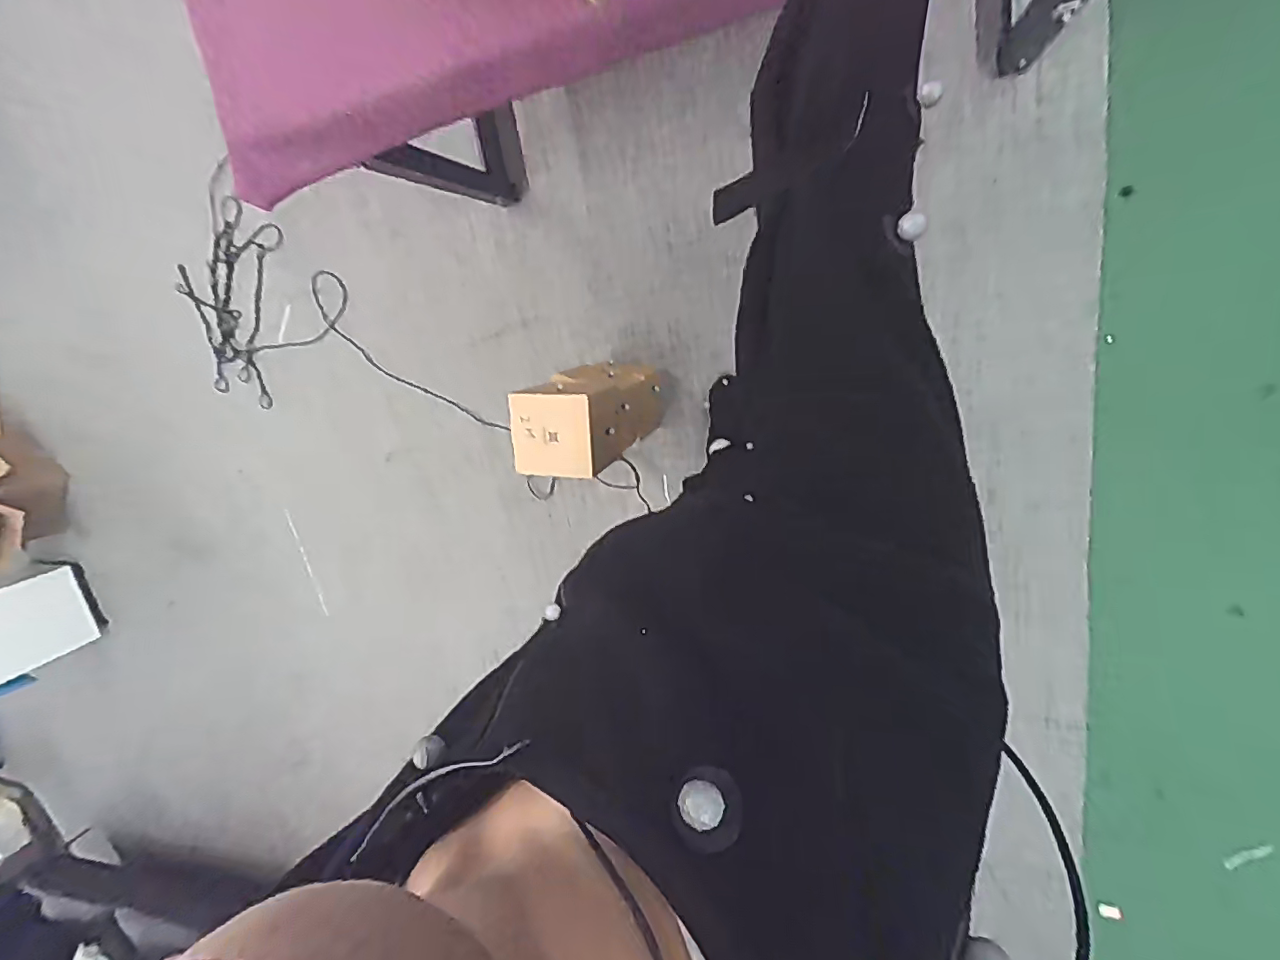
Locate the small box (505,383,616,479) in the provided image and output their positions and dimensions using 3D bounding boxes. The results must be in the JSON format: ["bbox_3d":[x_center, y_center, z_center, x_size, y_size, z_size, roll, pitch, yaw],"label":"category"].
[{"bbox_3d":[-0.154,-0.109,1.121,0.179,0.176,0.168,4,108,18],"label":"small box"}]

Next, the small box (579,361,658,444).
[{"bbox_3d":[-0.056,-0.211,1.416,0.168,0.176,0.179,11,112,15],"label":"small box"}]
